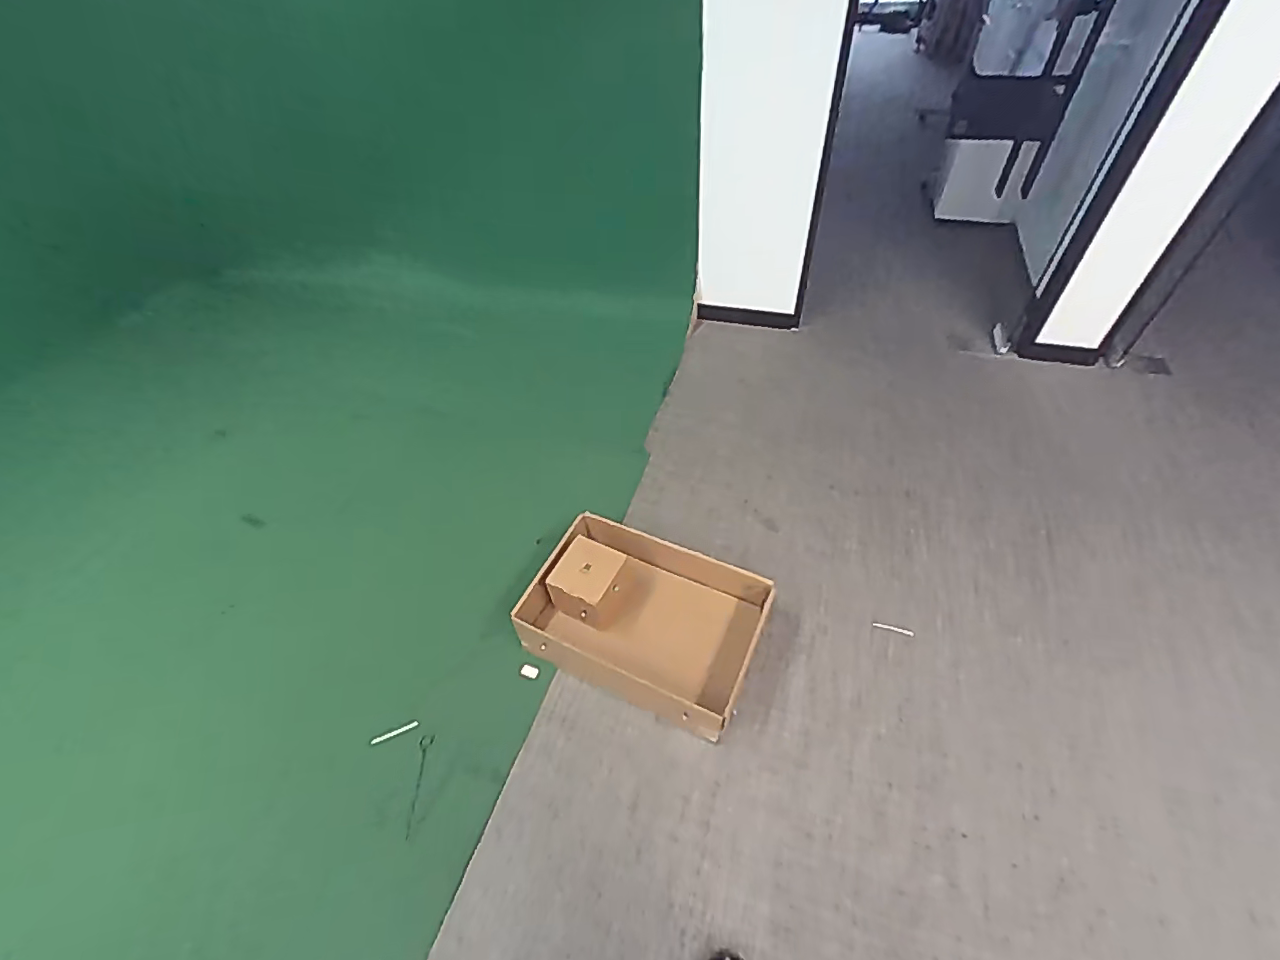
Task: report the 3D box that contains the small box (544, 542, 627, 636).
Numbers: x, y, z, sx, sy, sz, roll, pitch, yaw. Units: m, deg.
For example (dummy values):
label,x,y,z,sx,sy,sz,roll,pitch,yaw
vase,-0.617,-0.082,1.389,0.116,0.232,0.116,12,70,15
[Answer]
label,x,y,z,sx,sy,sz,roll,pitch,yaw
small box,-0.146,0.314,1.542,0.168,0.176,0.179,21,53,19
